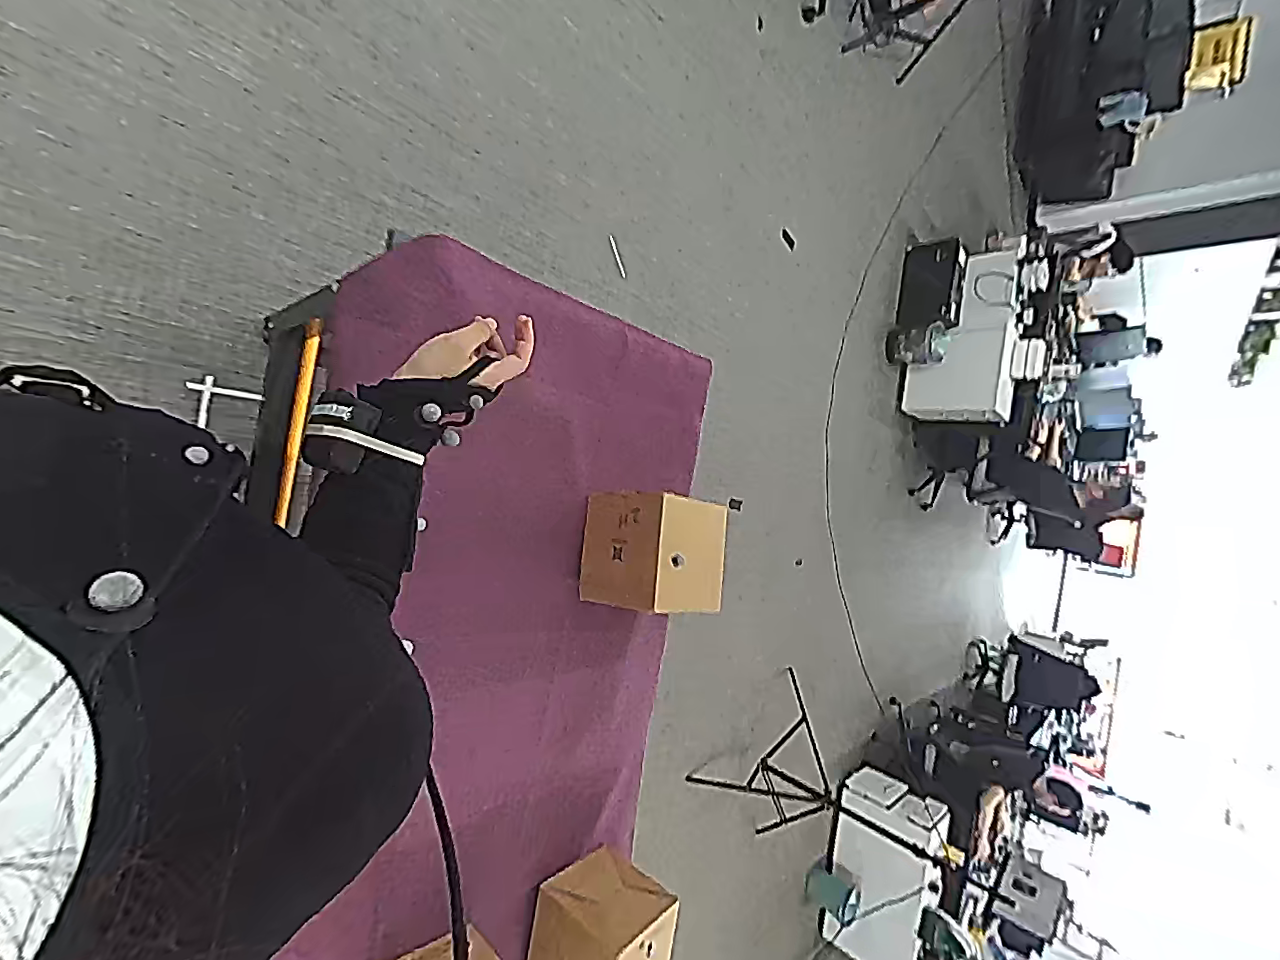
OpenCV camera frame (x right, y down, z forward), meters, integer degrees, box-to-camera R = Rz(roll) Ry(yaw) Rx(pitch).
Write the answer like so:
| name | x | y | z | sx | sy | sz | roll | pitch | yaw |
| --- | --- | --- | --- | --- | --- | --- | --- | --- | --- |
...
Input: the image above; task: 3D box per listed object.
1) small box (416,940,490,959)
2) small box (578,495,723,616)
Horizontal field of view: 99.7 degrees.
| name | x | y | z | sx | sy | sz | roll | pitch | yaw |
| --- | --- | --- | --- | --- | --- | --- | --- | --- | --- |
| small box | -0.267 | 0.753 | 0.698 | 0.168 | 0.176 | 0.179 | 14 | 86 | -47 |
| small box | 0.022 | 0.123 | 0.890 | 0.176 | 0.168 | 0.179 | 15 | 78 | -47 |
